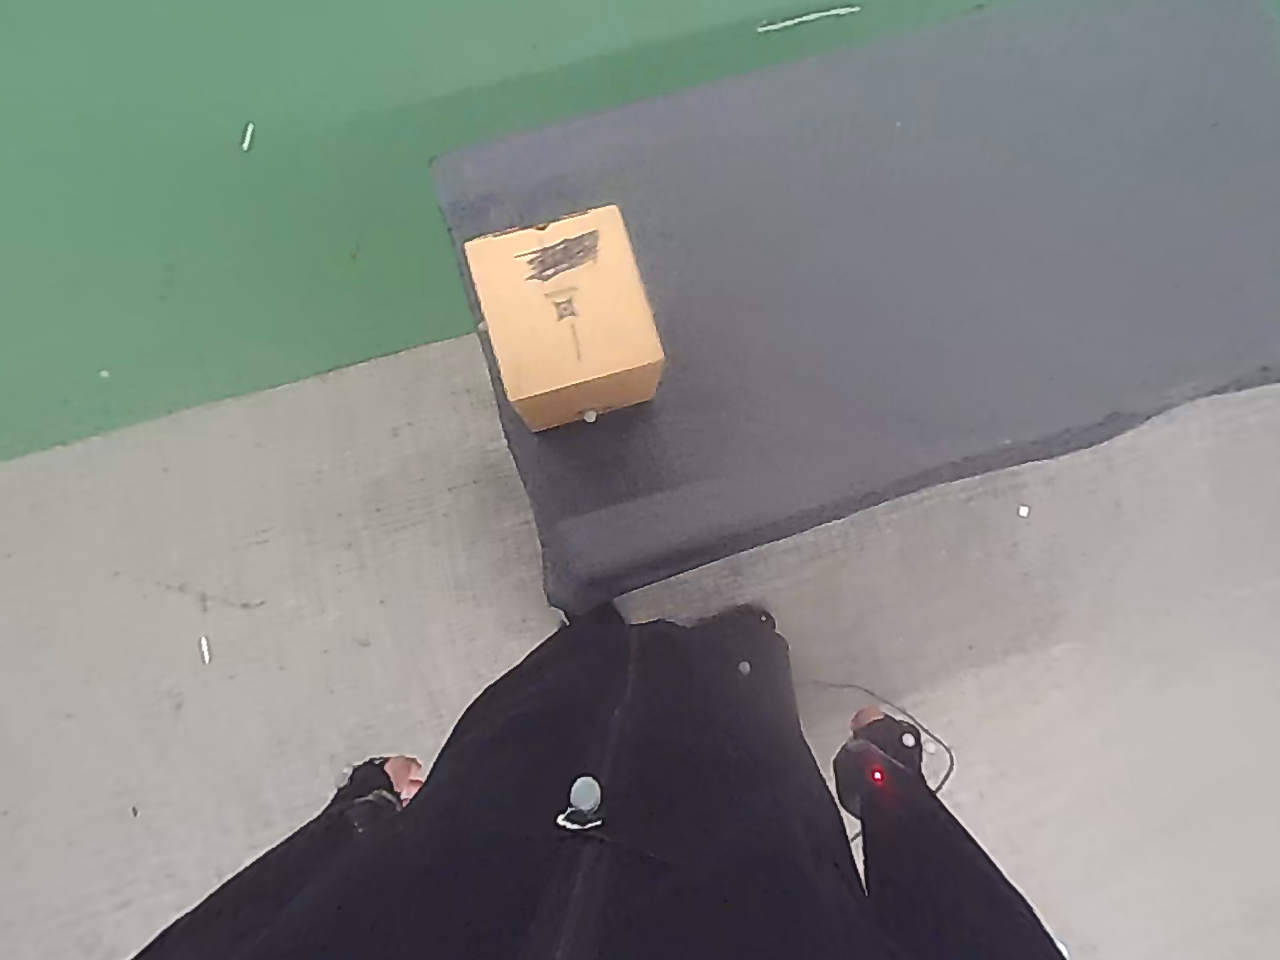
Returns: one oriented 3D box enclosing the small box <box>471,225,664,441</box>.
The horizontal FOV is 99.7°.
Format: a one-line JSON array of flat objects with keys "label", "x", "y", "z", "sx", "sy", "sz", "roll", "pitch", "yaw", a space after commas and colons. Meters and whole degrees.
[{"label": "small box", "x": -0.081, "y": -0.160, "z": 0.640, "sx": 0.168, "sy": 0.176, "sz": 0.179, "roll": -17, "pitch": 86, "yaw": -4}]
